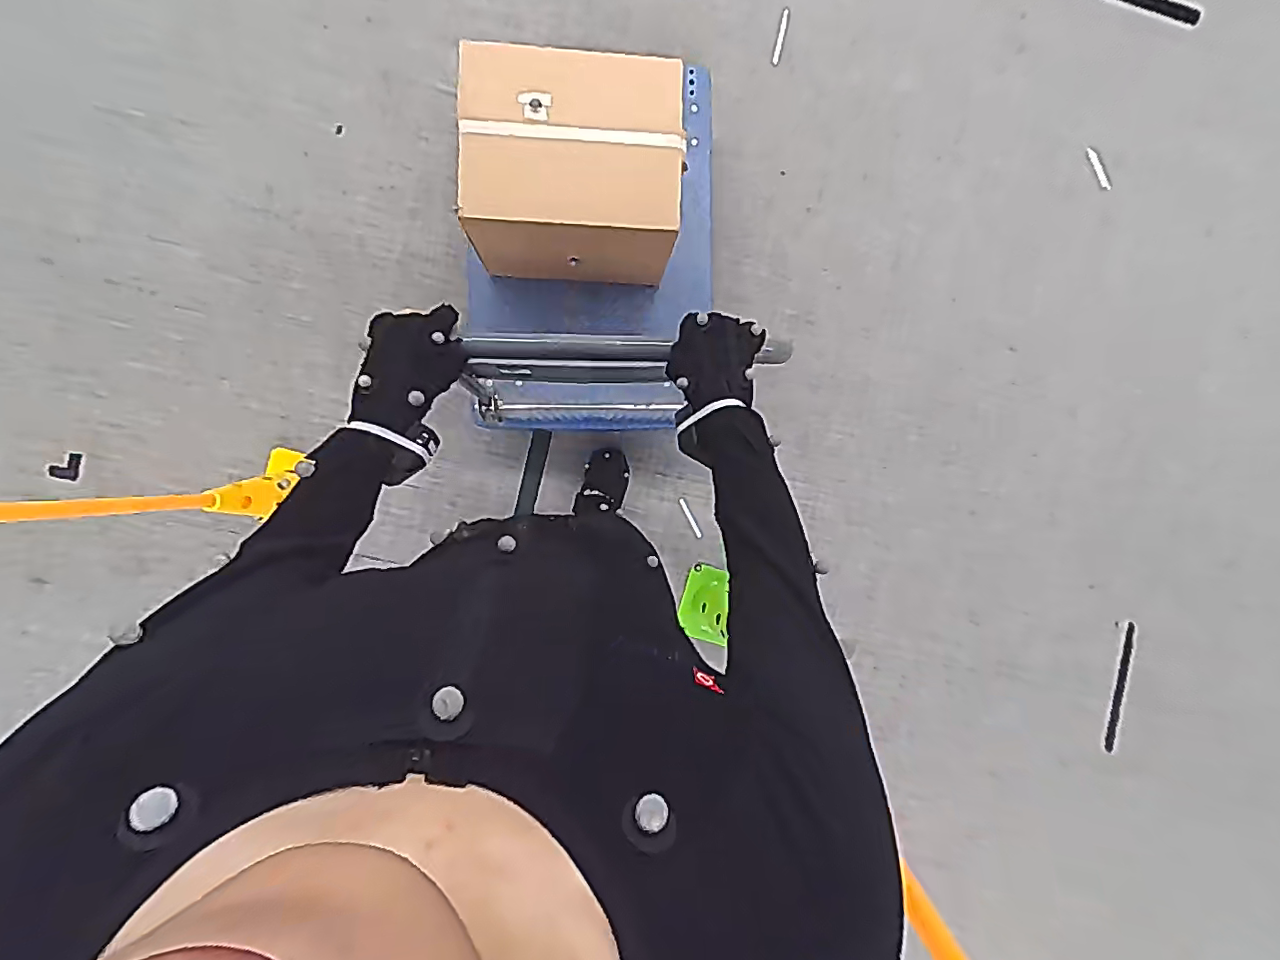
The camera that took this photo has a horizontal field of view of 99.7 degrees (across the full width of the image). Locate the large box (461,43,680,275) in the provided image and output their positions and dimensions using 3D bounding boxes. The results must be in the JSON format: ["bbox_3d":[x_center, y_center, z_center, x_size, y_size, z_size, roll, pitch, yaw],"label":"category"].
[{"bbox_3d":[-0.134,-0.638,1.136,0.408,0.320,0.320,1,92,-4],"label":"large box"}]

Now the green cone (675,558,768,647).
[{"bbox_3d":[0.230,0.337,1.334,0.202,0.368,0.200,17,90,-6],"label":"green cone"}]
